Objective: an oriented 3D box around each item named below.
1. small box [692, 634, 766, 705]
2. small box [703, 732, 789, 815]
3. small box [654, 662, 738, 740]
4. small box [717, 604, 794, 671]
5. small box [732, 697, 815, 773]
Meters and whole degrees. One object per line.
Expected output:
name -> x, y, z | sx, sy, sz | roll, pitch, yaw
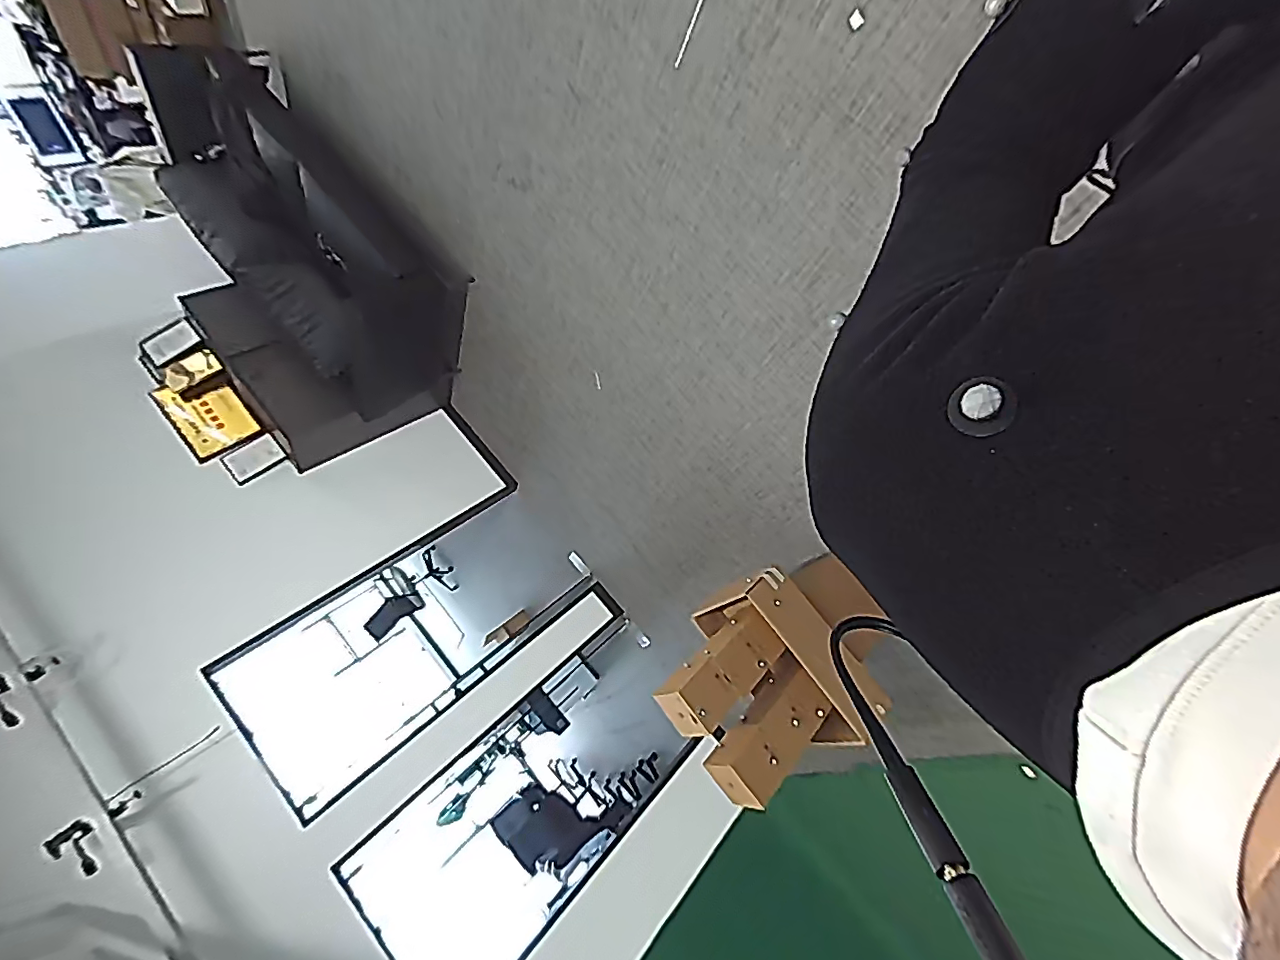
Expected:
small box -> 0.304, 0.646, 1.844 | 0.168, 0.176, 0.179 | 53, 145, 4
small box -> 0.344, 0.937, 1.744 | 0.168, 0.176, 0.179 | 52, 145, 4
small box -> 0.184, 0.716, 1.756 | 0.168, 0.176, 0.179 | 53, 145, 4
small box -> 0.416, 0.570, 1.938 | 0.168, 0.176, 0.179 | 53, 144, 4
small box -> 0.456, 0.863, 1.837 | 0.168, 0.176, 0.179 | 51, 145, 5
